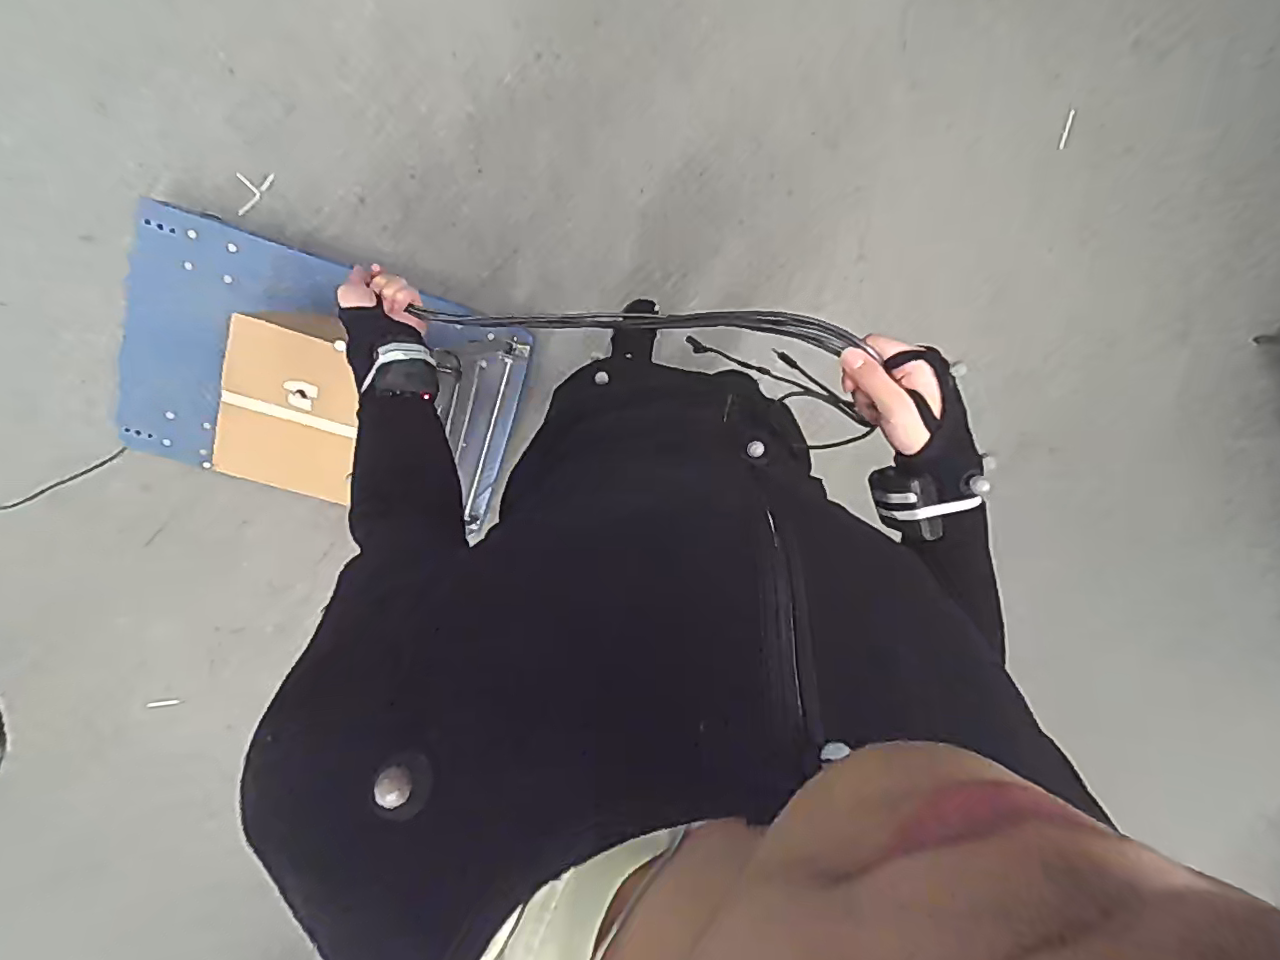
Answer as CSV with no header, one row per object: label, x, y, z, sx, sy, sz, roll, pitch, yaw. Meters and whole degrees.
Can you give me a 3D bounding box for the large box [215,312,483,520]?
large box,-0.597,-0.152,1.177,0.408,0.320,0.320,17,104,-10
